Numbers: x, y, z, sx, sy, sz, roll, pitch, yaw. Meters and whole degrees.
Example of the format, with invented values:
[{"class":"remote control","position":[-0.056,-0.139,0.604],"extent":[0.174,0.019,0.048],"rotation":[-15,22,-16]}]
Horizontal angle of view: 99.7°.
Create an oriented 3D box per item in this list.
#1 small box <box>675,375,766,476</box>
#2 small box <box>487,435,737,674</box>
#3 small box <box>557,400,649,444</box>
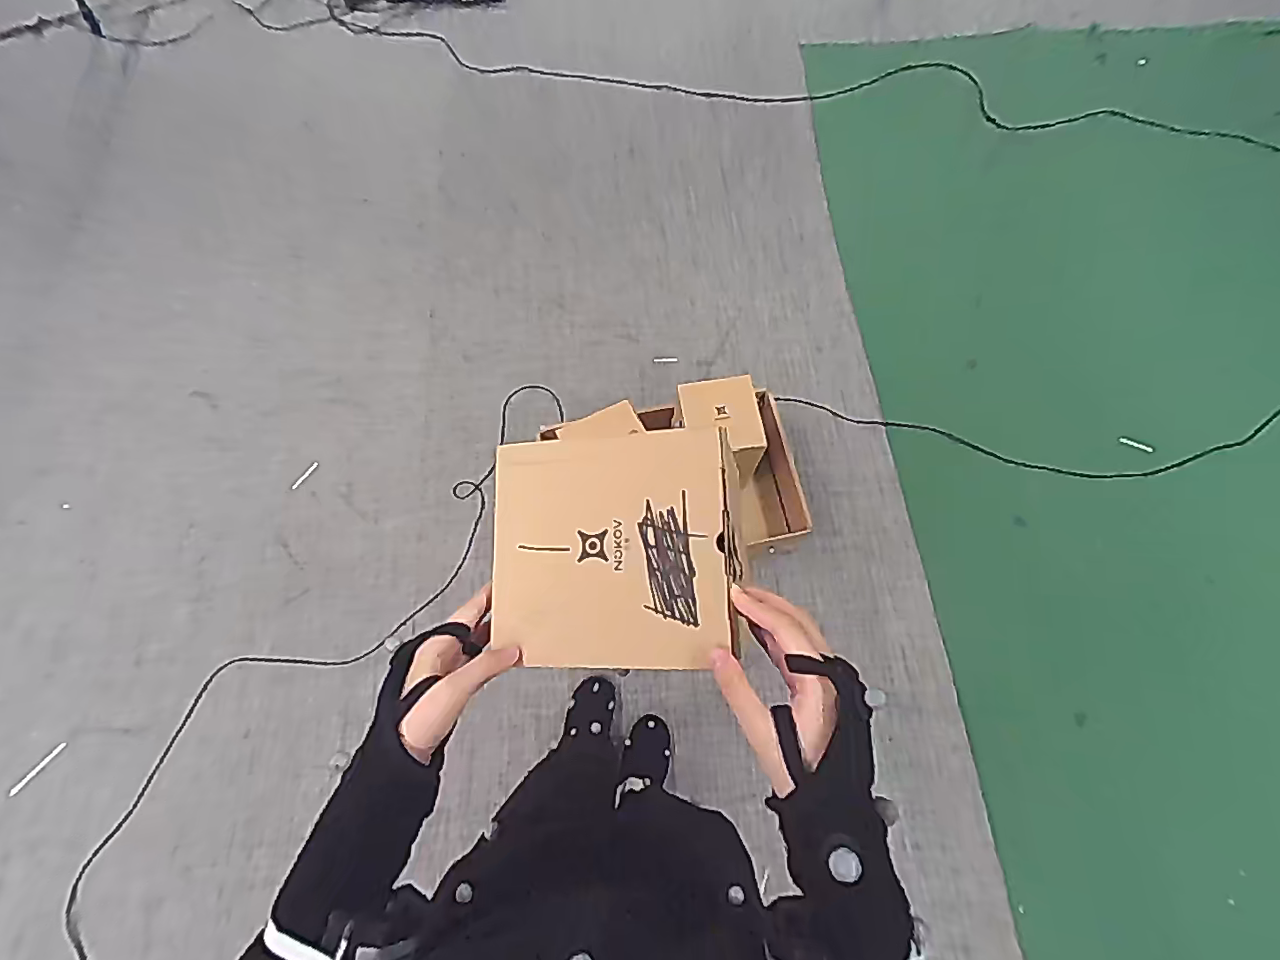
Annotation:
[{"class":"small box","position":[0.174,-0.115,1.234],"extent":[0.168,0.176,0.179],"rotation":[-9,72,-1]},{"class":"small box","position":[-0.010,0.064,0.464],"extent":[0.179,0.176,0.168],"rotation":[-4,79,14]},{"class":"small box","position":[-0.069,-0.048,1.218],"extent":[0.179,0.176,0.168],"rotation":[-25,74,-8]}]
